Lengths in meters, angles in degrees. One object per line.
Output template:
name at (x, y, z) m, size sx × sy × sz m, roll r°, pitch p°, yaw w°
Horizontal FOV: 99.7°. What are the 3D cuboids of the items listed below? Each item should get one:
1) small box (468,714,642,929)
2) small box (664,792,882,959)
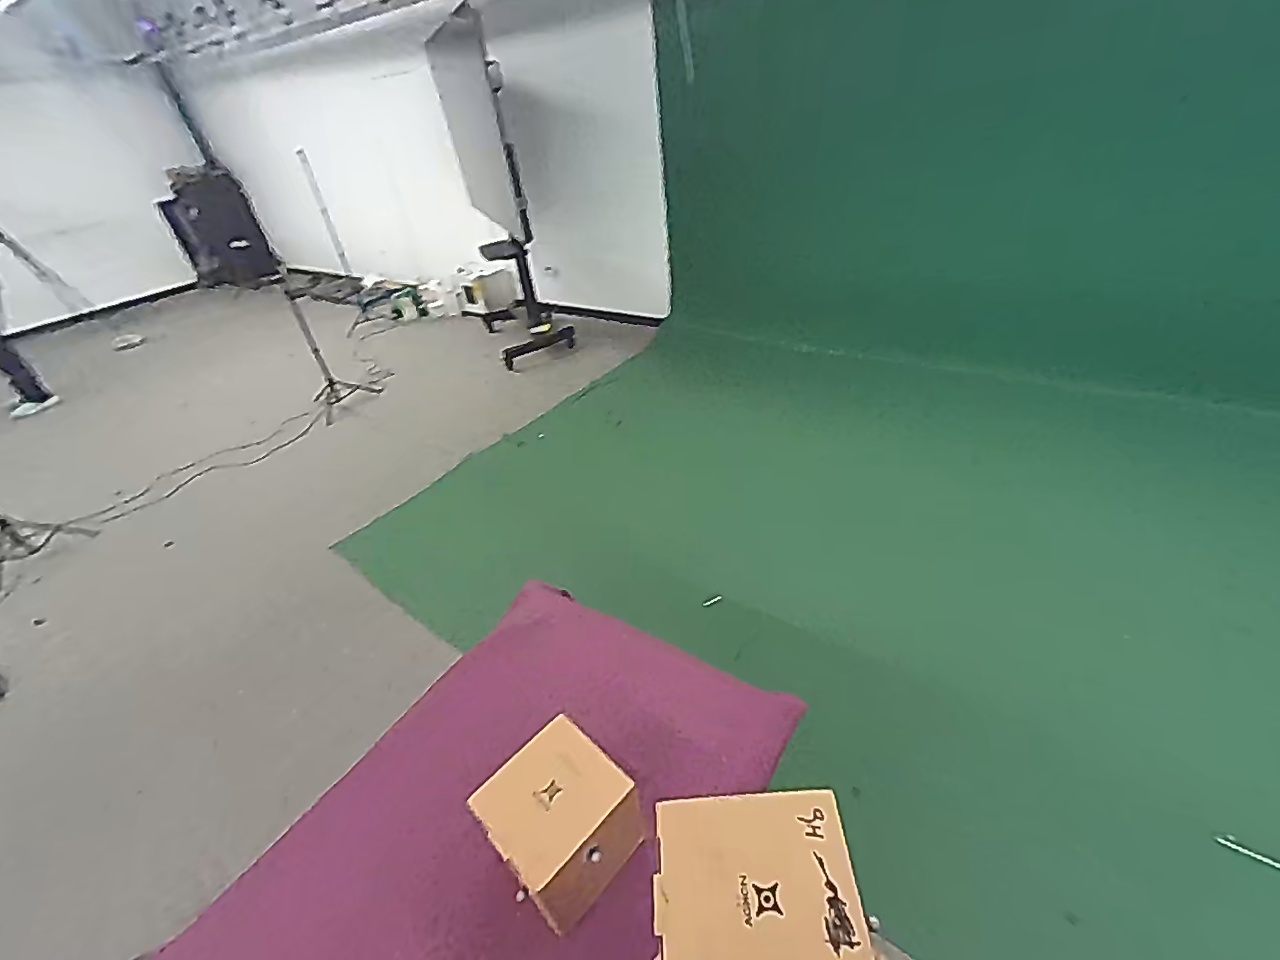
small box at (-0.114, 0.495, 0.790) m, size 0.168 × 0.176 × 0.179 m, roll 27°, pitch 48°, yaw 38°
small box at (0.123, 0.422, 0.522) m, size 0.179 × 0.176 × 0.168 m, roll -7°, pitch 43°, yaw 7°
